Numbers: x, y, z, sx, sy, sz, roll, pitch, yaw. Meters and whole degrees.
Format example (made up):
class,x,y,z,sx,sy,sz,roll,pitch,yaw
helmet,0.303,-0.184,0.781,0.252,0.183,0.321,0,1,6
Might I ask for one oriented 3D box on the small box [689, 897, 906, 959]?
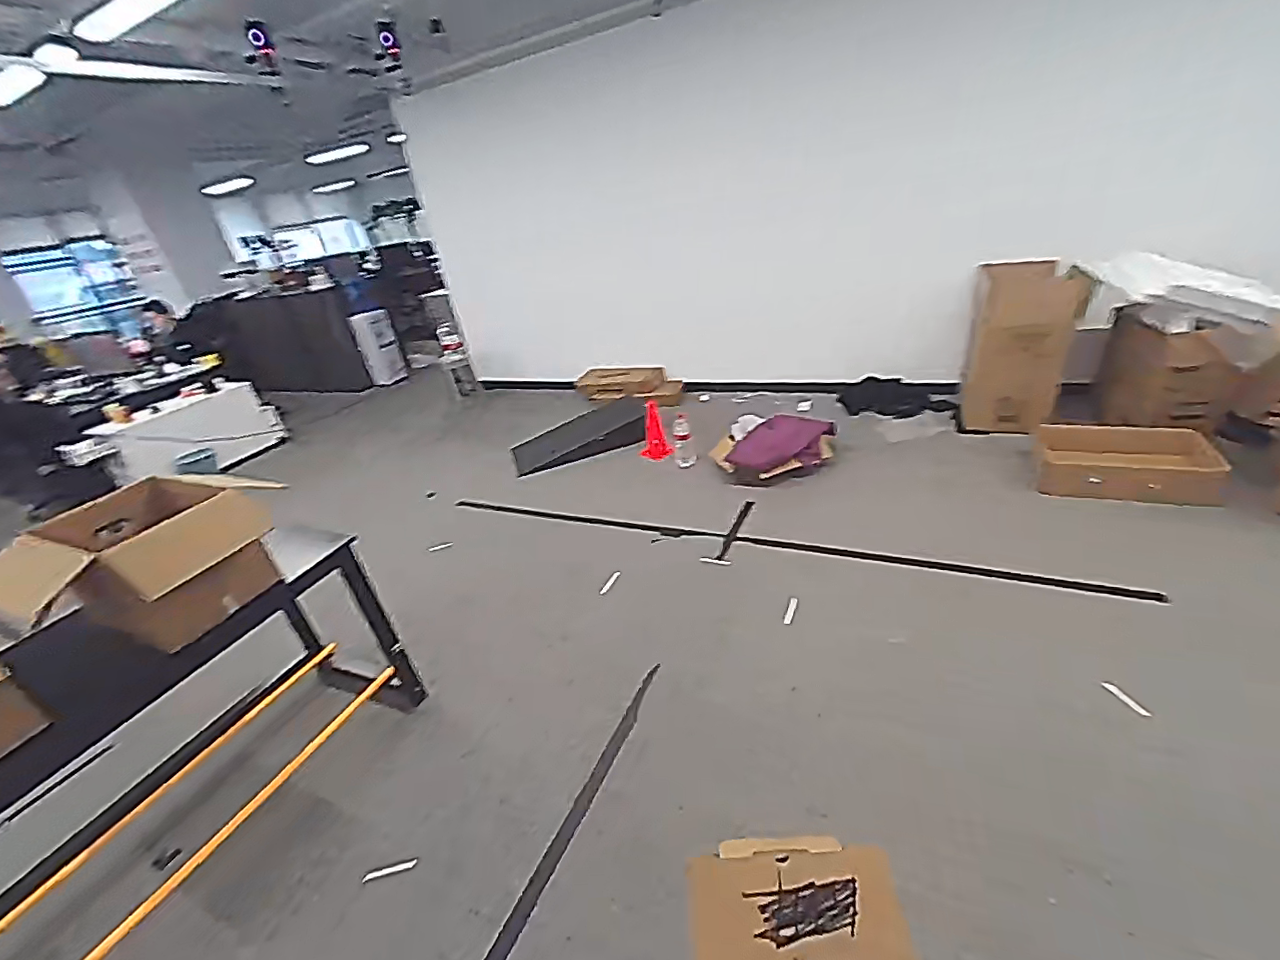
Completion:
class,x,y,z,sx,sy,sz,roll,pitch,yaw
small box,0.130,0.462,0.423,0.168,0.176,0.179,-7,38,2
